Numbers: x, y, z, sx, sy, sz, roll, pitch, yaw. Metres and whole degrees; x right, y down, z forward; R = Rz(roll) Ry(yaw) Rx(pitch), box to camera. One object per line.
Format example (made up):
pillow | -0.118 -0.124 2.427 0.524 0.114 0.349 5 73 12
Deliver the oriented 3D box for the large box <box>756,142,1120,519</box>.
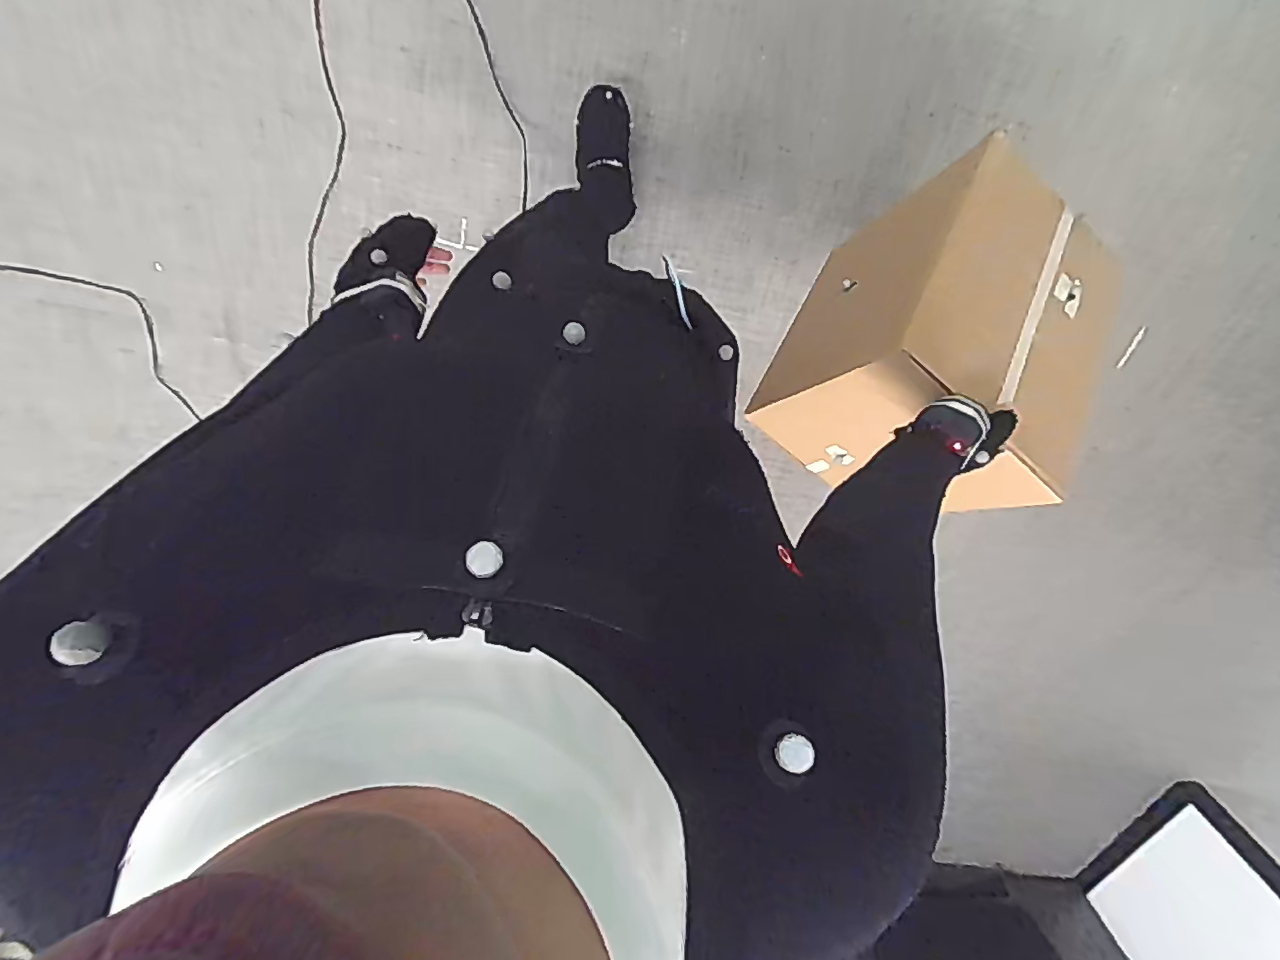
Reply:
large box | 0.447 -0.193 0.842 0.320 0.320 0.408 36 70 -15
